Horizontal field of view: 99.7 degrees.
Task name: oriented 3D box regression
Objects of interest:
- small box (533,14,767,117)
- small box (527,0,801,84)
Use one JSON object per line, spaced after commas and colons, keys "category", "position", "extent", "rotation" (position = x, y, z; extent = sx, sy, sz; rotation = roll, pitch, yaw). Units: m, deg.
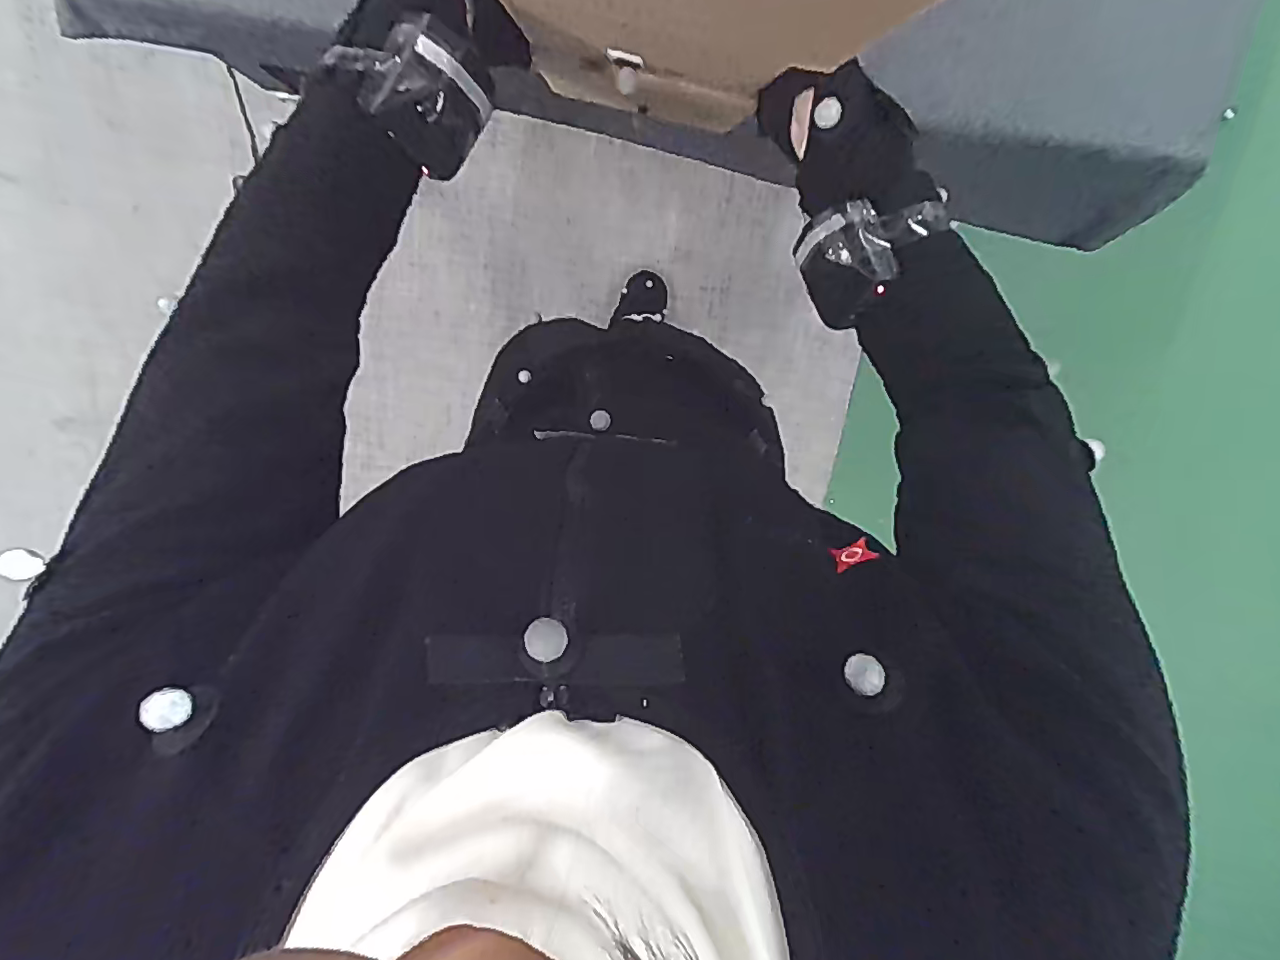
{"category": "small box", "position": [0.018, -0.414, 0.441], "extent": [0.179, 0.176, 0.168], "rotation": [9, 117, -6]}
{"category": "small box", "position": [0.019, -0.348, 0.292], "extent": [0.168, 0.176, 0.179], "rotation": [9, 118, -5]}
